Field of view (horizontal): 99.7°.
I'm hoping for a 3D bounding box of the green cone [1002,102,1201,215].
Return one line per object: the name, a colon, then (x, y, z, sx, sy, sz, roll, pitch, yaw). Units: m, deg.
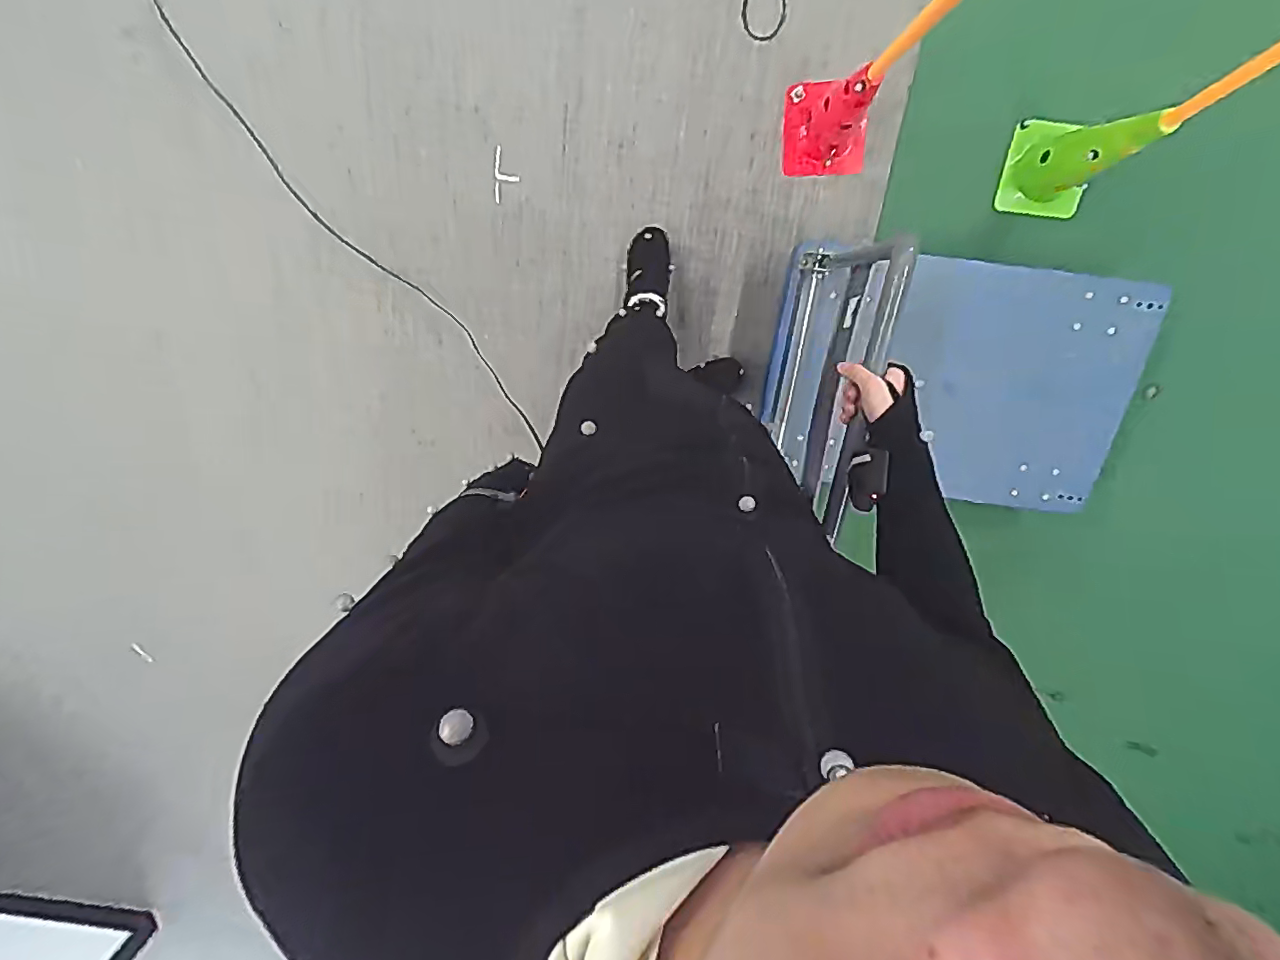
green cone: (0.980, -0.701, 1.130, 0.202, 0.368, 0.200, 7, 108, 1)
